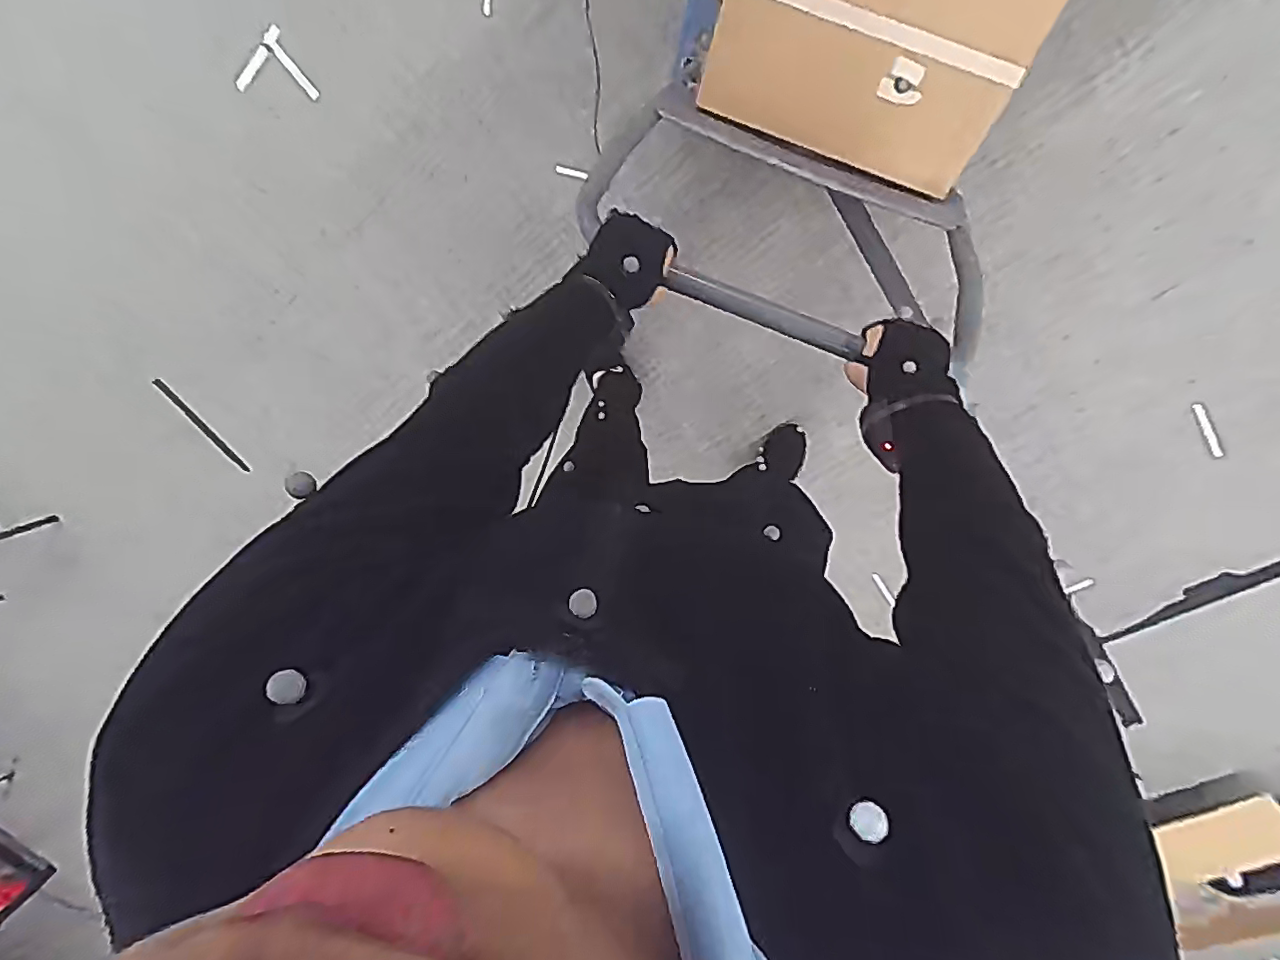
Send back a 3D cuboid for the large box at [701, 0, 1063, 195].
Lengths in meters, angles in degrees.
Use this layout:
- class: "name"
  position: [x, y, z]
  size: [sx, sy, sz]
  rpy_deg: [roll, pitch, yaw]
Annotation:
- class: "large box"
  position: [0.348, -0.701, 0.825]
  size: [0.408, 0.320, 0.320]
  rpy_deg: [21, 136, 0]
